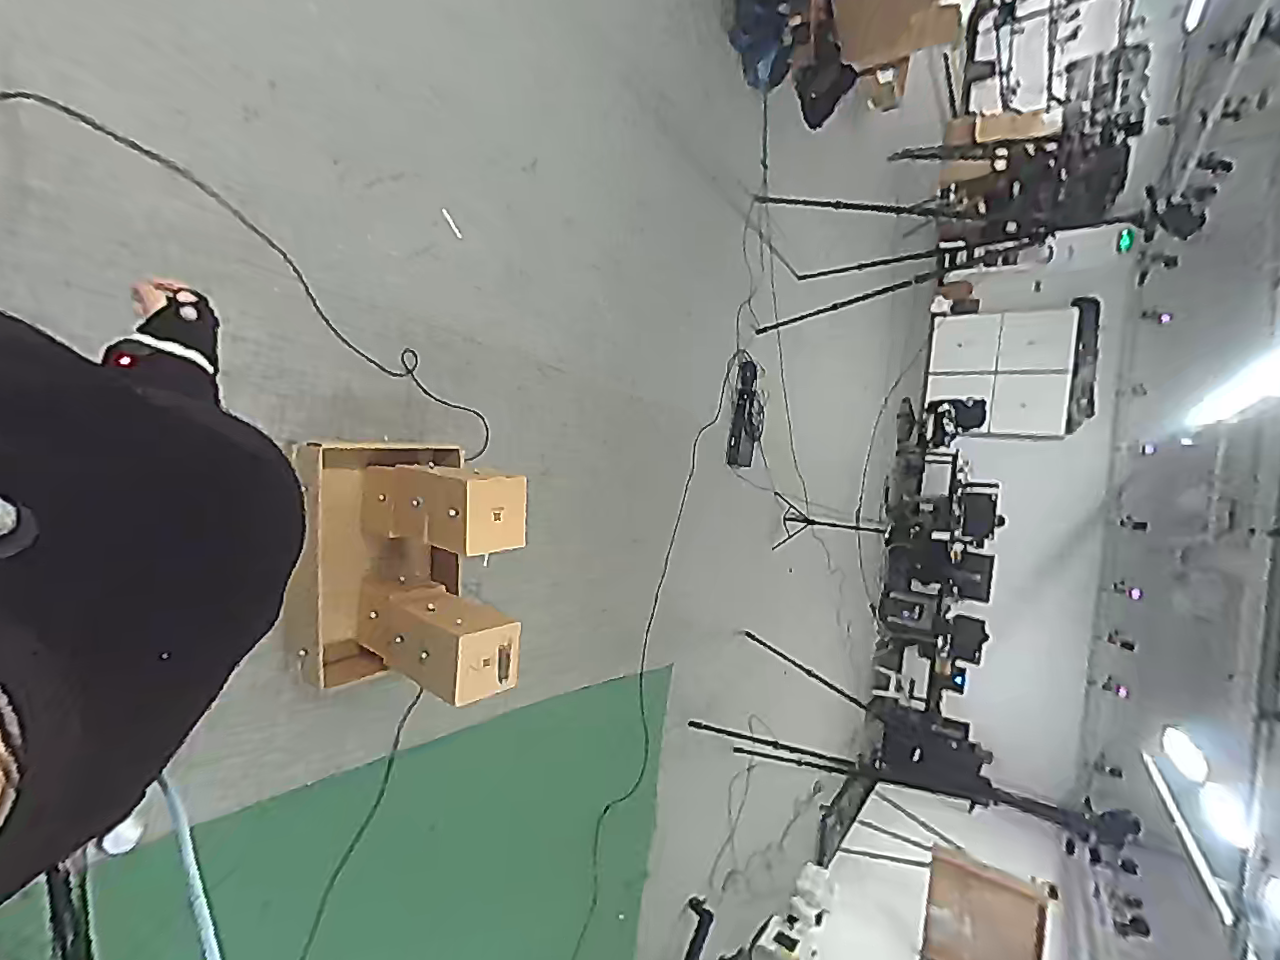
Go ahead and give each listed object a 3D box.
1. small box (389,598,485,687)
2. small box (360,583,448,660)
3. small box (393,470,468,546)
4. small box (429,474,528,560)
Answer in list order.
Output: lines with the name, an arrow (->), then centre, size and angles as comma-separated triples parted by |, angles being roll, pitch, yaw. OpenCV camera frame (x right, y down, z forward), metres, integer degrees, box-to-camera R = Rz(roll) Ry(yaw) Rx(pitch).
small box -> -0.532, 0.416, 1.413 | 0.179, 0.176, 0.168 | 2, 94, -54
small box -> -0.662, 0.389, 1.512 | 0.168, 0.176, 0.179 | 2, 92, -53
small box -> -0.516, 0.068, 1.393 | 0.168, 0.176, 0.179 | 2, 94, -52
small box -> -0.388, 0.081, 1.294 | 0.168, 0.176, 0.179 | -6, 98, -51
